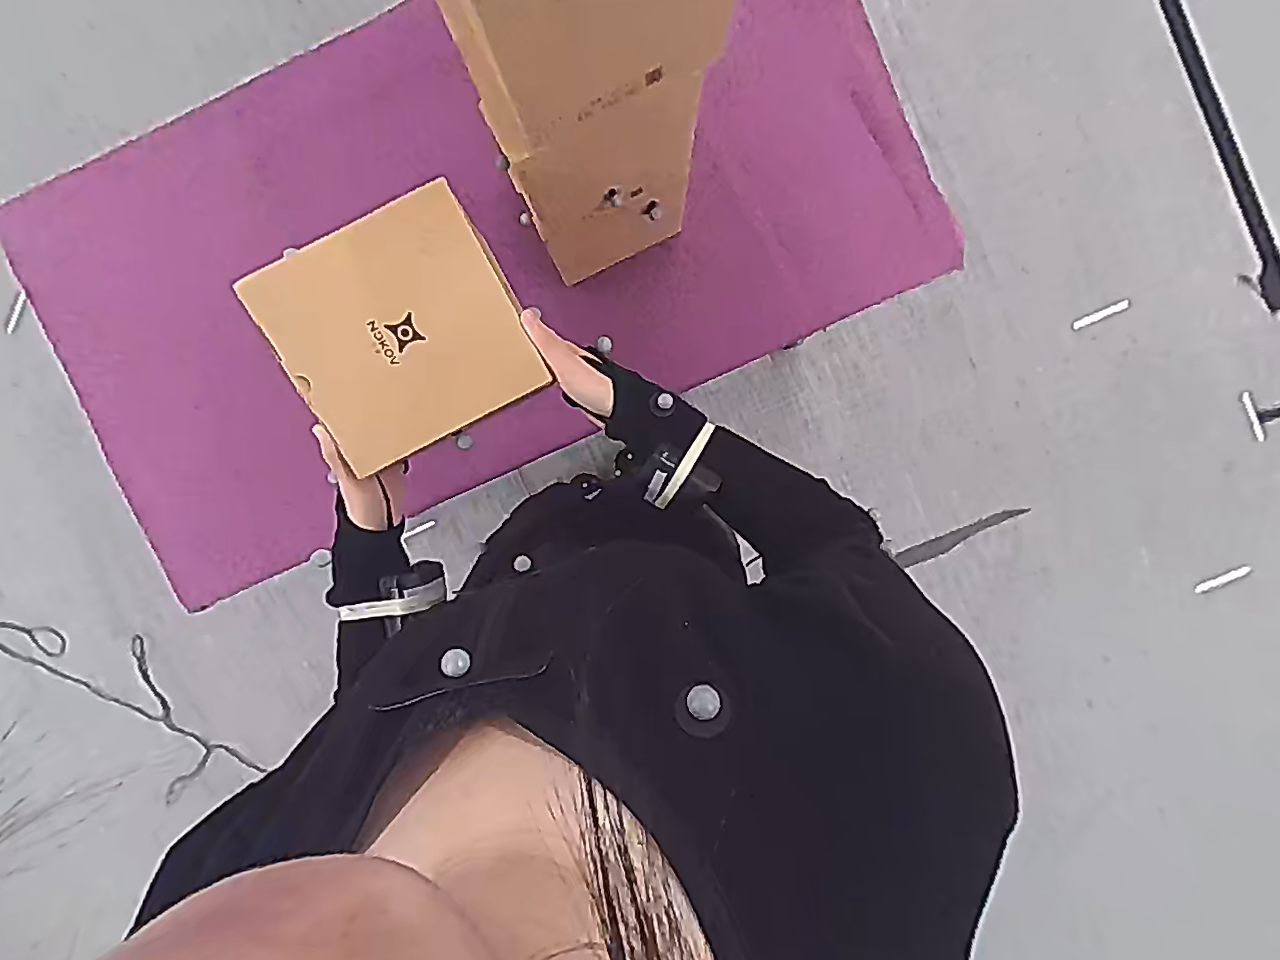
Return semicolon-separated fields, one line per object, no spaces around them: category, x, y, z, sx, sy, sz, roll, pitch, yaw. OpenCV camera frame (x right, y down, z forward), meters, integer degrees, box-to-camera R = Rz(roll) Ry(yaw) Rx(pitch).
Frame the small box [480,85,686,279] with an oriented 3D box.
small box;-0.059;-0.375;0.656;0.179;0.176;0.168;-25;92;3

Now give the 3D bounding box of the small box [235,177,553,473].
small box;-0.190;-0.129;0.484;0.179;0.176;0.168;-27;103;0

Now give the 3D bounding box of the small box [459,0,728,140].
small box;-0.049;-0.361;0.328;0.168;0.176;0.179;-25;93;3
